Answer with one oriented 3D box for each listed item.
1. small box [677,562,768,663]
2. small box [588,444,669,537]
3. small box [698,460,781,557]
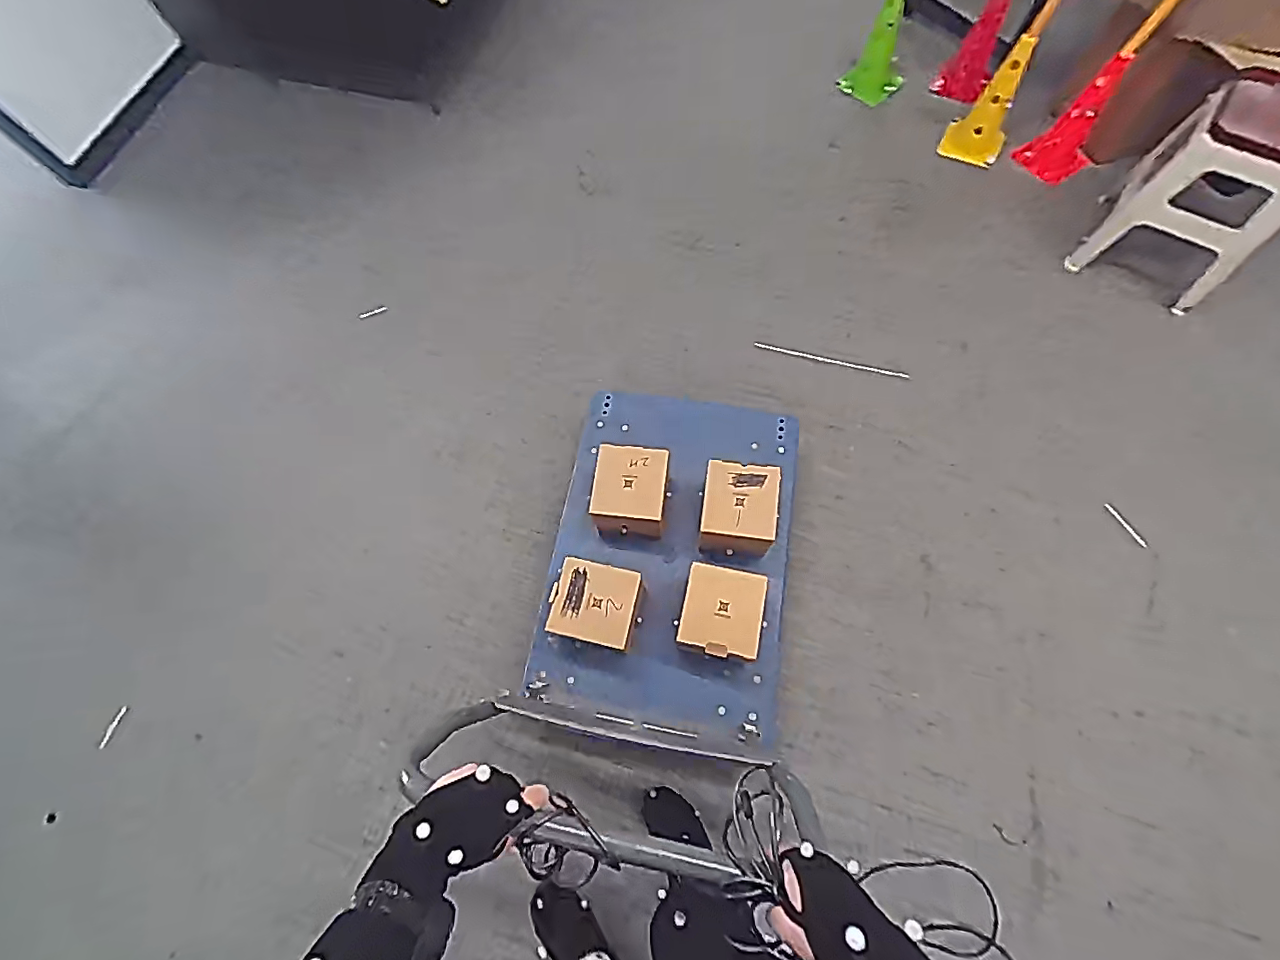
[{"bbox_3d":[0.177,0.298,1.201,0.168,0.176,0.179,11,71,8],"label":"small box"},{"bbox_3d":[-0.020,0.031,1.313,0.168,0.176,0.179,6,70,6],"label":"small box"},{"bbox_3d":[0.230,0.071,1.279,0.168,0.176,0.179,7,71,8],"label":"small box"}]
